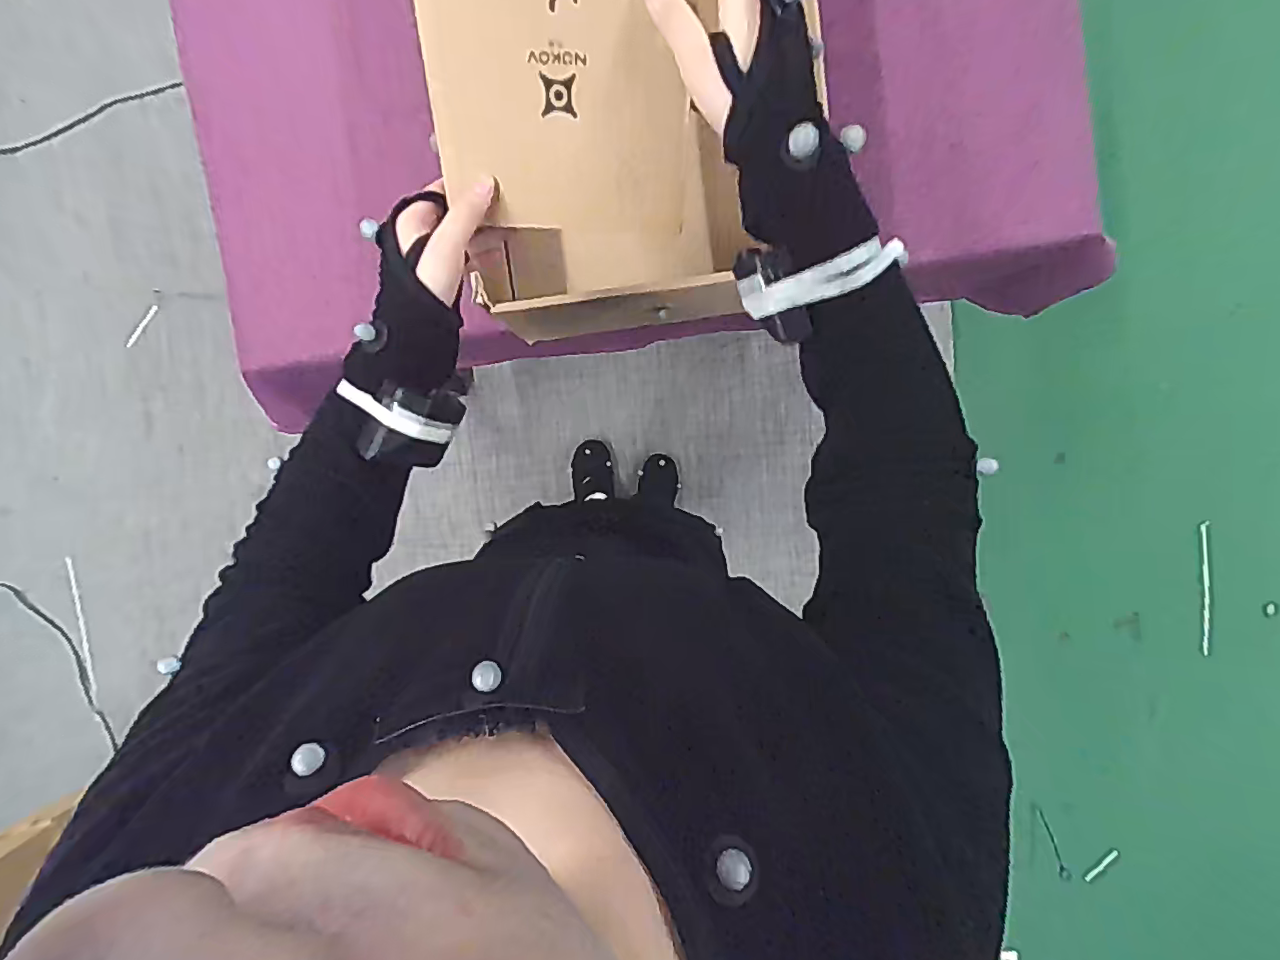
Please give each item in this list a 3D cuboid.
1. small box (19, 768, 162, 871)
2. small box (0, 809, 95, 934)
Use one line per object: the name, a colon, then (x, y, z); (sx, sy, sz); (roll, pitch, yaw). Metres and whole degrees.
small box: (-1.396, 0.873, 1.386); (0.168, 0.176, 0.179); (-18, 94, 4)
small box: (-1.418, 0.890, 1.225); (0.179, 0.176, 0.168); (-15, 94, 3)
